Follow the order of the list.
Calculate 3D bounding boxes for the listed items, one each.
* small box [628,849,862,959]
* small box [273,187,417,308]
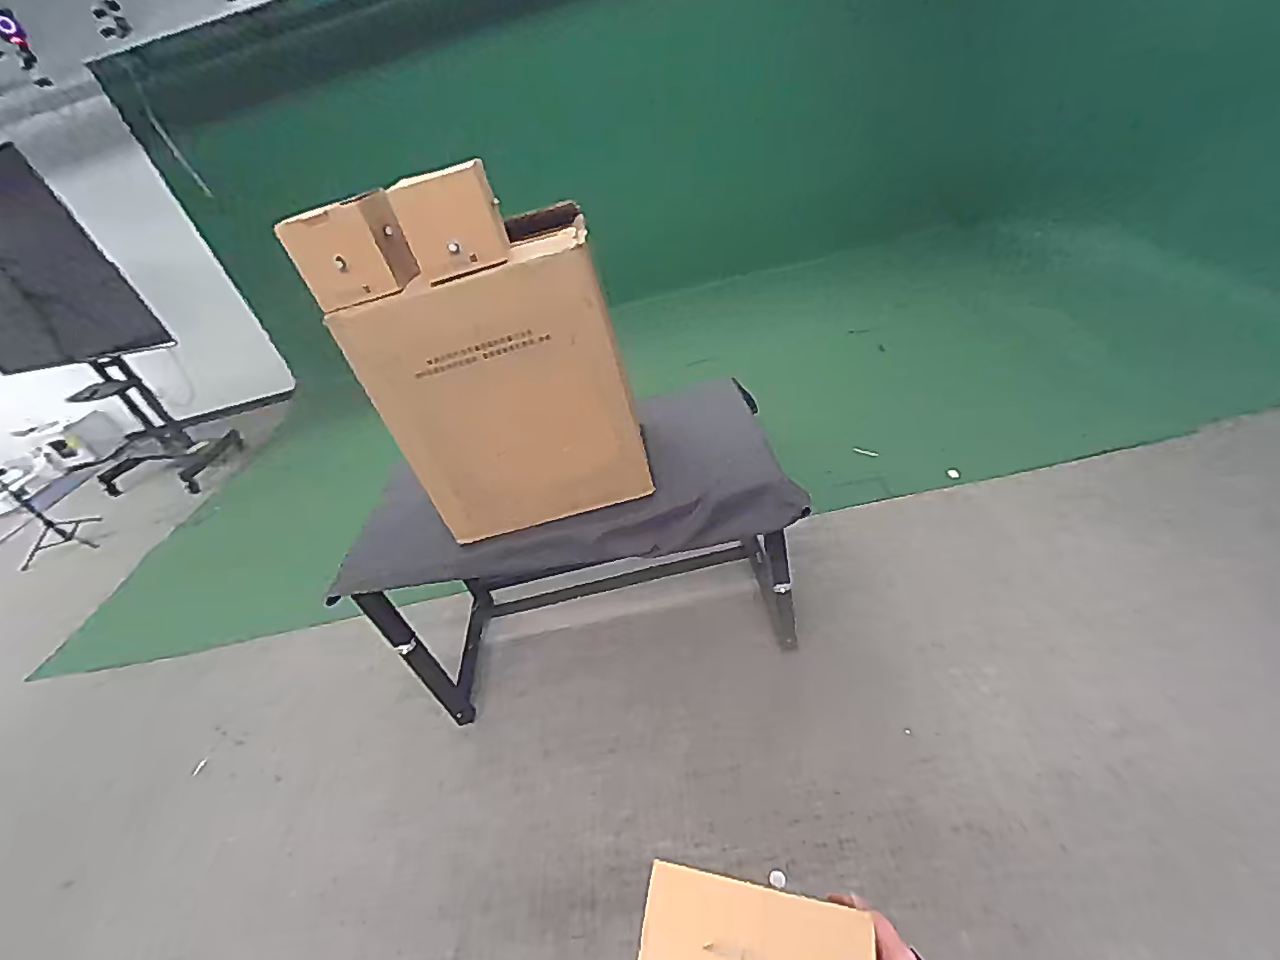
[{"bbox_3d":[0.081,0.422,0.430,0.168,0.176,0.179,3,52,16],"label":"small box"},{"bbox_3d":[-0.578,-0.465,1.091,0.168,0.176,0.179,-14,36,4],"label":"small box"}]
